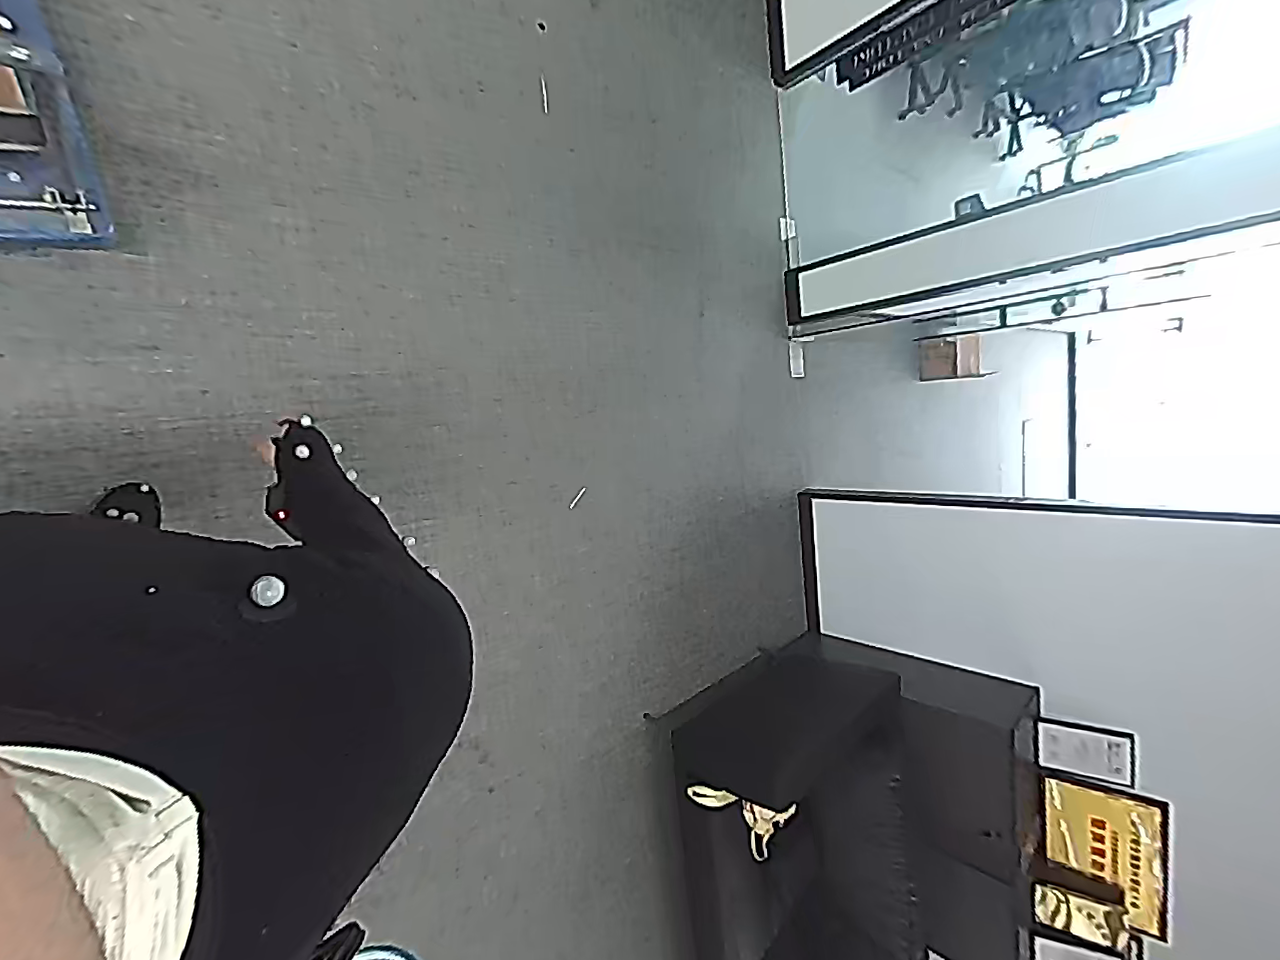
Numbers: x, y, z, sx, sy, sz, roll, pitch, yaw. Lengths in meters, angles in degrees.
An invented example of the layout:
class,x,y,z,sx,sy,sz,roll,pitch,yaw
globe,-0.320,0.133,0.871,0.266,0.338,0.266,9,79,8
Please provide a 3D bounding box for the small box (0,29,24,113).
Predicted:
class,x,y,z,sx,sy,sz,roll,pitch,yaw
small box,-1.126,-0.723,0.849,0.168,0.176,0.179,-19,105,-40
